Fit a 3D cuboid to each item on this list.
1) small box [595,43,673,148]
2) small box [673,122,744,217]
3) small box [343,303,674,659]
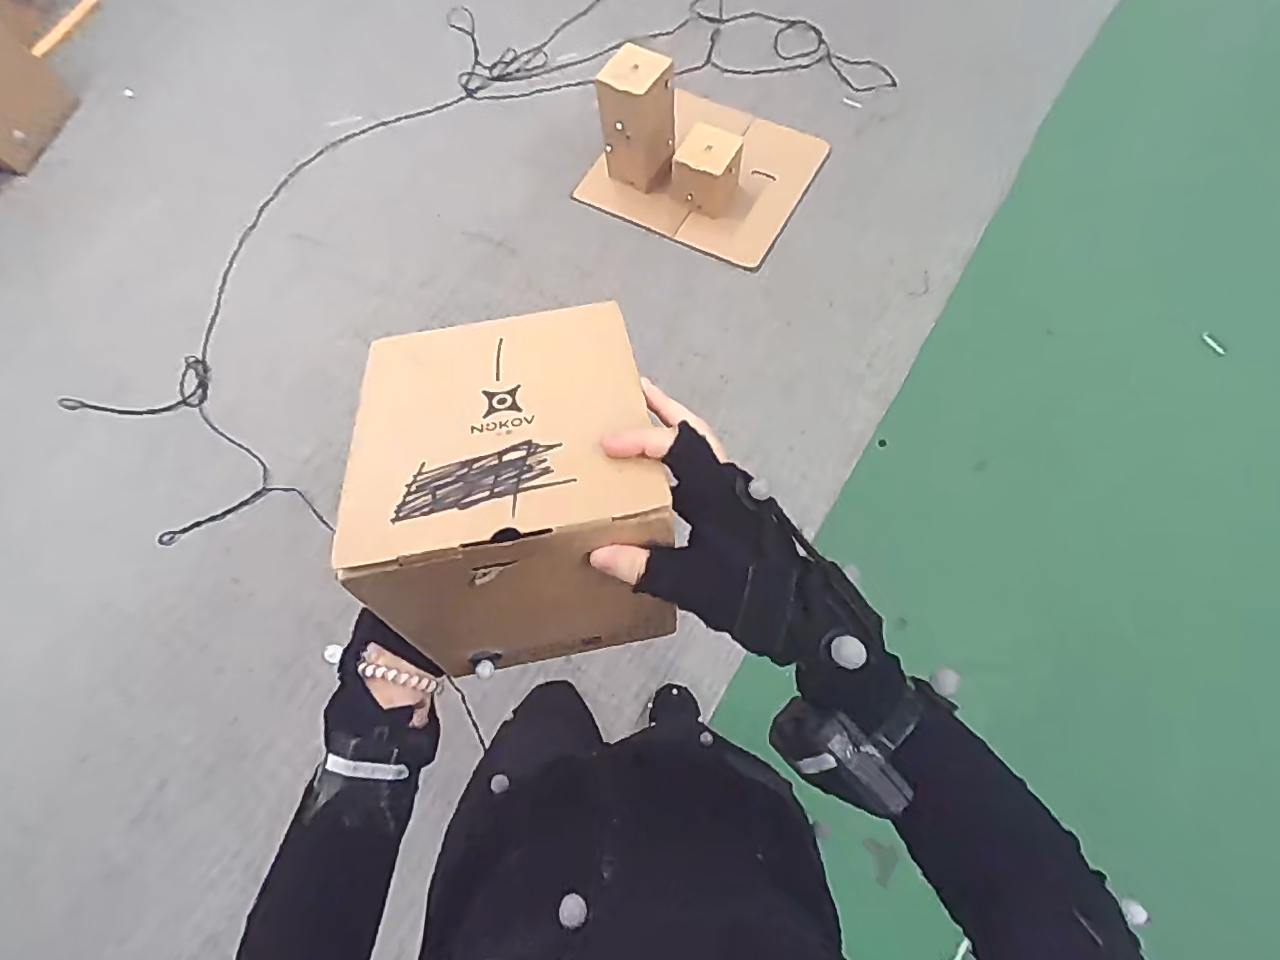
[{"bbox_3d":[-0.014,-1.154,1.630,0.168,0.176,0.179,31,75,14],"label":"small box"},{"bbox_3d":[0.212,-0.991,1.736,0.168,0.176,0.179,27,75,11],"label":"small box"},{"bbox_3d":[-0.072,0.010,0.376,0.168,0.176,0.179,-10,54,-3],"label":"small box"}]
